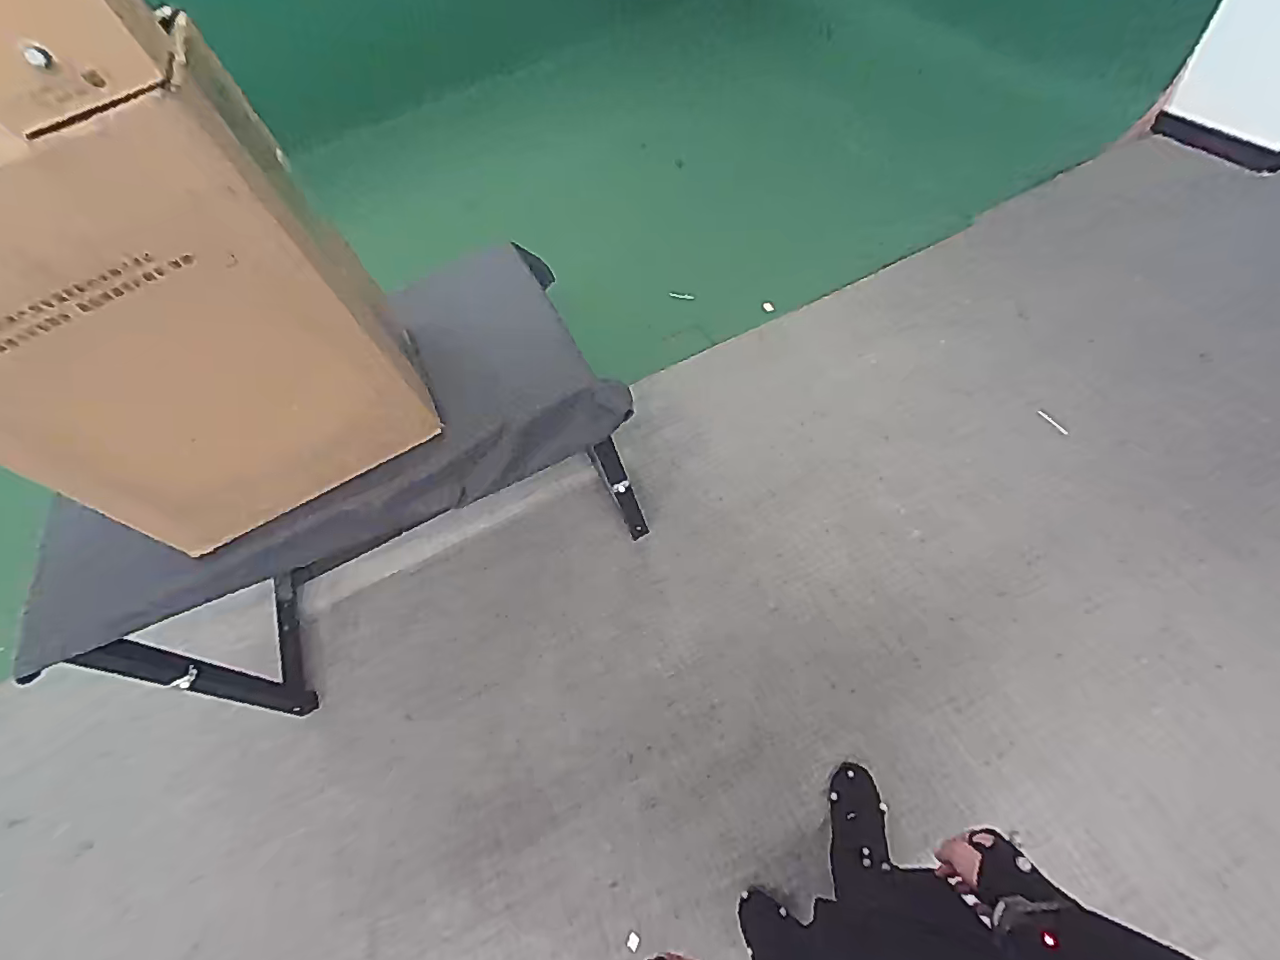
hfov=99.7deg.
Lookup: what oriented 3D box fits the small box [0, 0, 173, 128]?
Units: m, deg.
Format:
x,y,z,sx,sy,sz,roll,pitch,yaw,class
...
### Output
x,y,z,sx,sy,sz,roll,pitch,yaw,class
-0.634,-0.505,0.561,0.168,0.176,0.179,-28,57,-6,small box
